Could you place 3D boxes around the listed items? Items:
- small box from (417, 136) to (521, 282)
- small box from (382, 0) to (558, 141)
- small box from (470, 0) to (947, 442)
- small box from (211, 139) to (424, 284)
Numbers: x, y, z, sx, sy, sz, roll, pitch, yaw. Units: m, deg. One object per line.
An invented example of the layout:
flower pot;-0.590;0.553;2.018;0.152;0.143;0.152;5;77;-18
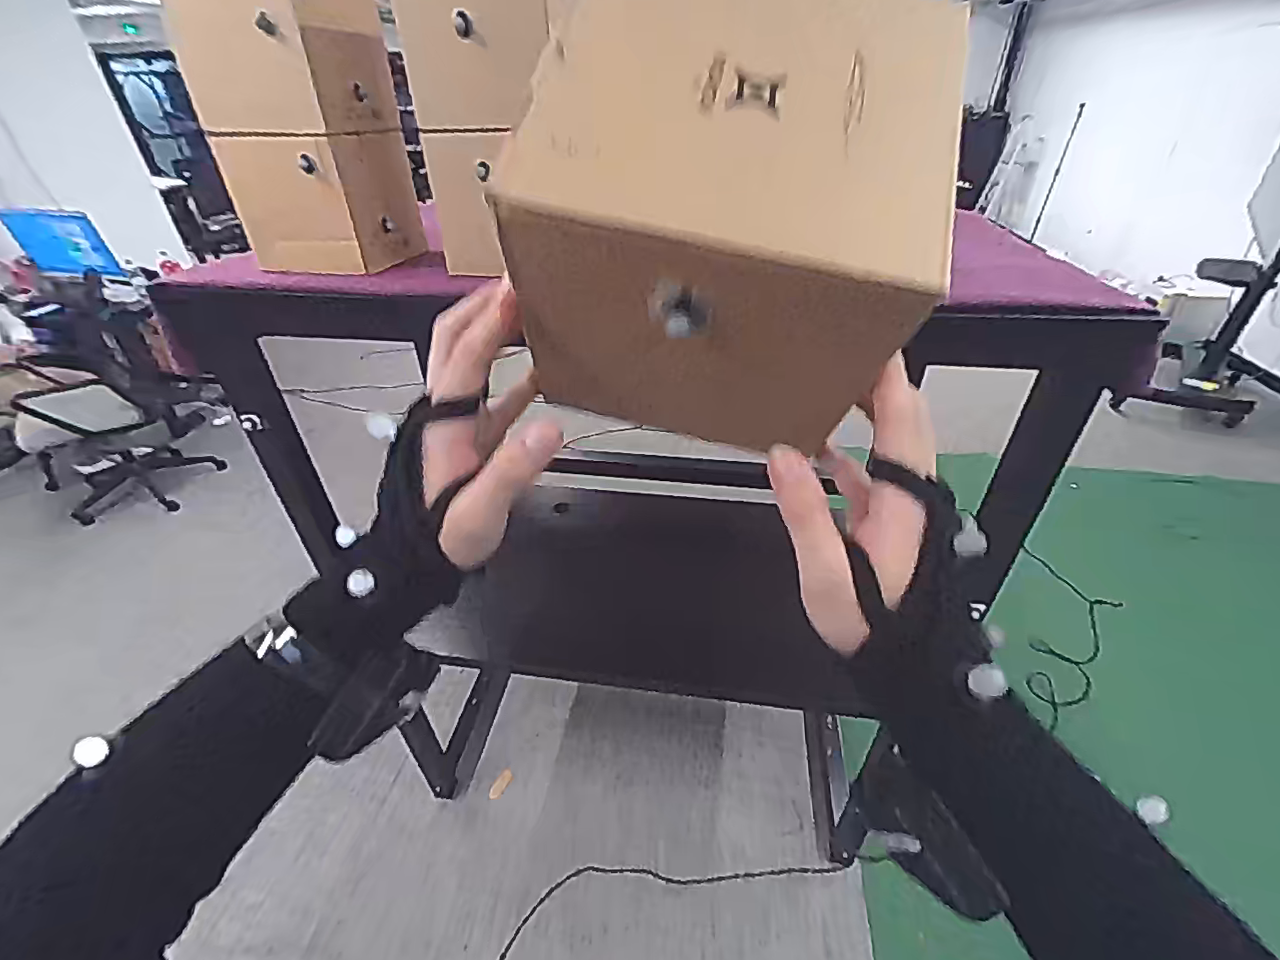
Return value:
small box;-0.166;-0.375;0.741;0.179;0.176;0.168;5;36;11
small box;-0.172;-0.509;0.647;0.179;0.176;0.168;4;35;11
small box;0.037;-0.138;0.303;0.179;0.176;0.168;14;71;5
small box;-0.445;-0.388;0.779;0.179;0.176;0.168;5;35;9
